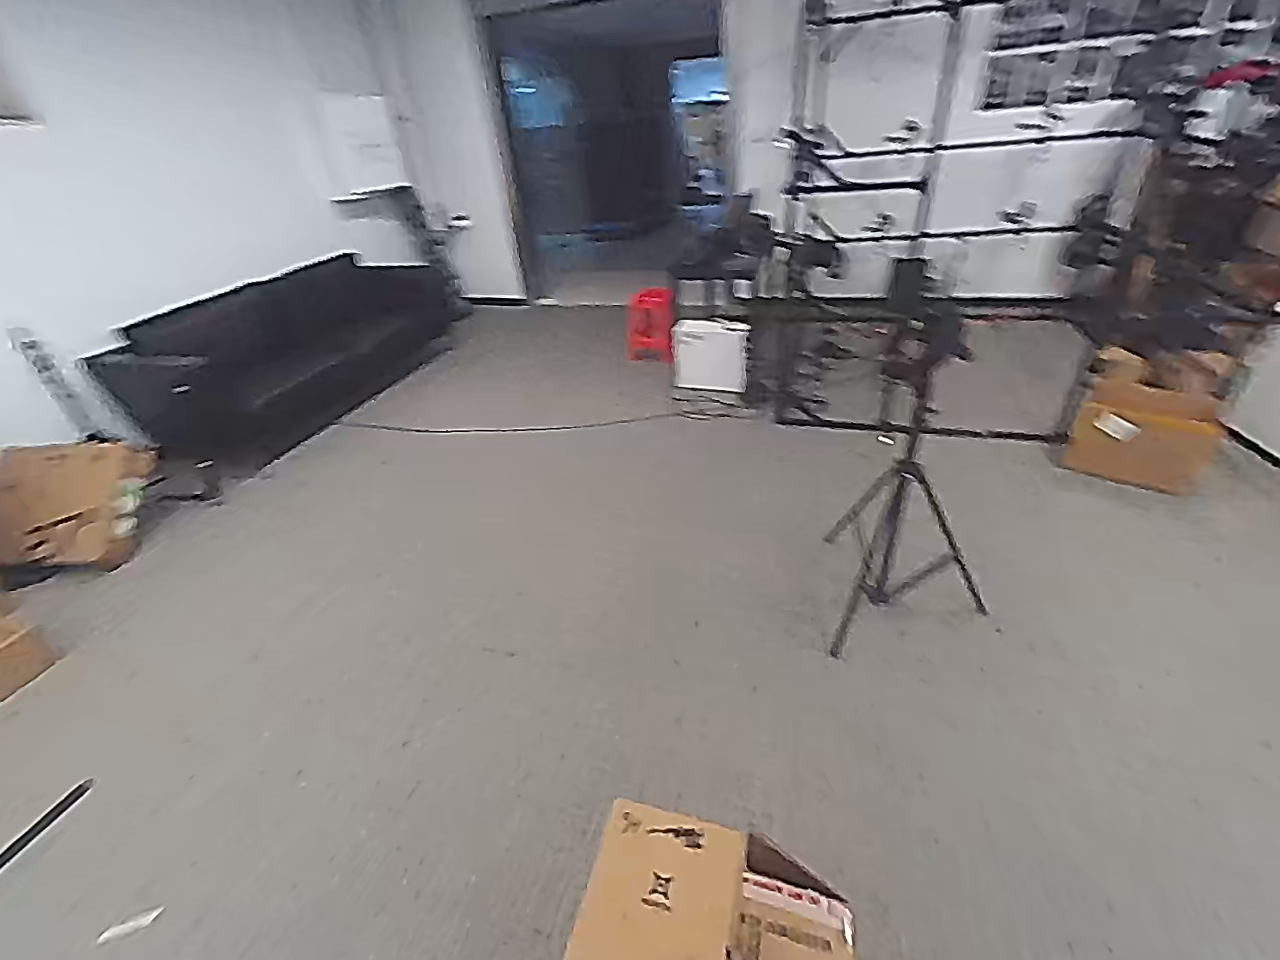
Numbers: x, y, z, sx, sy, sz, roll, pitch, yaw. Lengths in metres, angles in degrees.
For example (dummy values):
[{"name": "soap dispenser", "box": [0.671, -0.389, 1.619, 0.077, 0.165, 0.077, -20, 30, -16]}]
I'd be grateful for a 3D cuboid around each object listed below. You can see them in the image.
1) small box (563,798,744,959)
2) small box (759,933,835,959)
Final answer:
[{"name": "small box", "box": [0.030, 0.528, 0.648, 0.168, 0.176, 0.179, 6, 38, 18]}, {"name": "small box", "box": [0.212, 0.708, 0.654, 0.168, 0.176, 0.179, 8, 37, 17]}]
